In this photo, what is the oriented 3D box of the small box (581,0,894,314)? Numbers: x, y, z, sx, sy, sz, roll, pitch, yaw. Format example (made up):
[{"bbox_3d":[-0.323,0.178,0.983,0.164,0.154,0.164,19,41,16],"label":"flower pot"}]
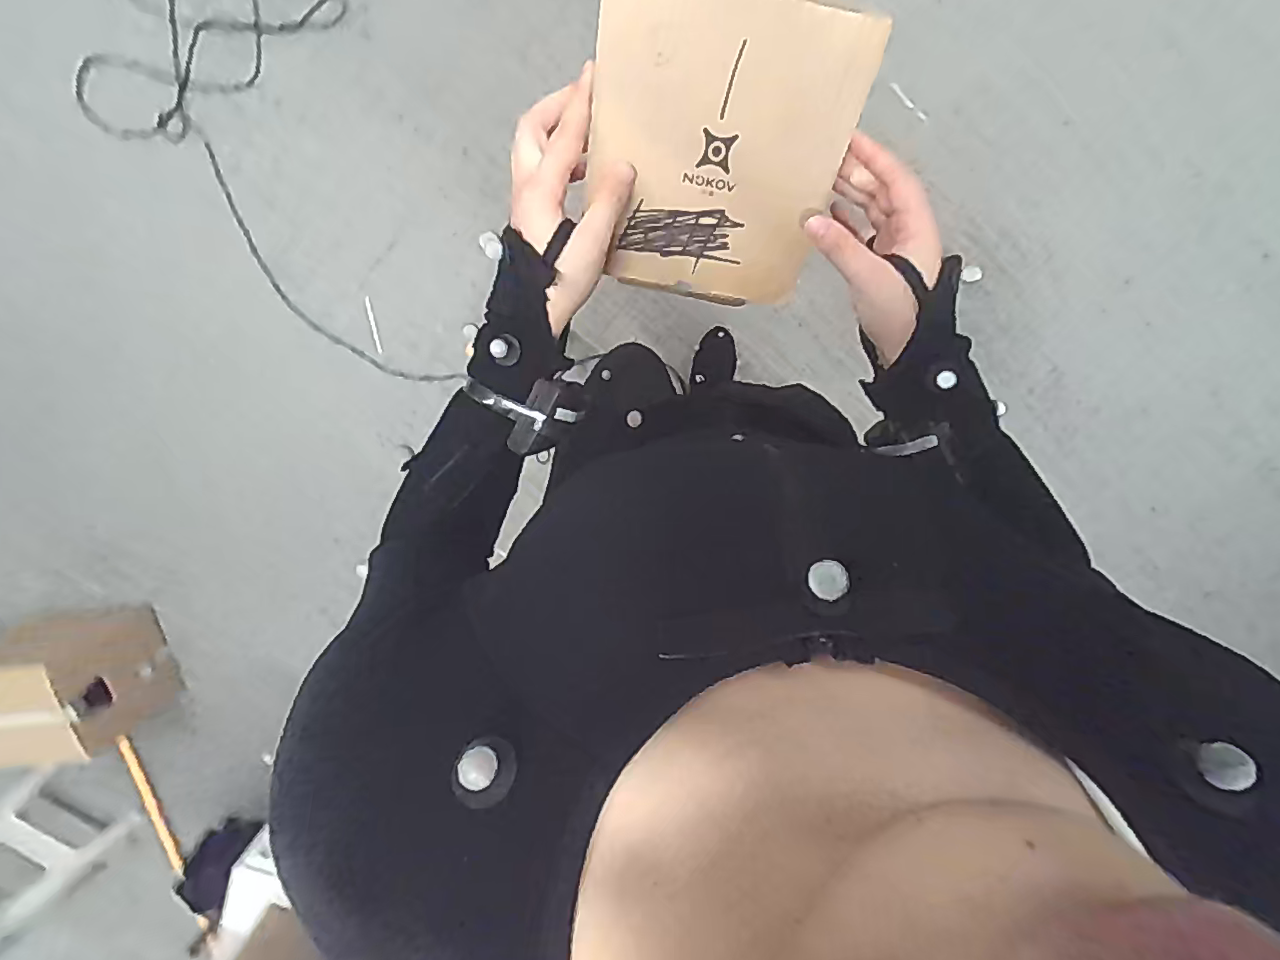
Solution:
[{"bbox_3d":[0.056,-0.260,0.412,0.168,0.176,0.179,10,135,-5],"label":"small box"}]

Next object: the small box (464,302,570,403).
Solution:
[{"bbox_3d":[-0.293,-0.319,1.334,0.179,0.176,0.168,40,103,-9],"label":"small box"}]
